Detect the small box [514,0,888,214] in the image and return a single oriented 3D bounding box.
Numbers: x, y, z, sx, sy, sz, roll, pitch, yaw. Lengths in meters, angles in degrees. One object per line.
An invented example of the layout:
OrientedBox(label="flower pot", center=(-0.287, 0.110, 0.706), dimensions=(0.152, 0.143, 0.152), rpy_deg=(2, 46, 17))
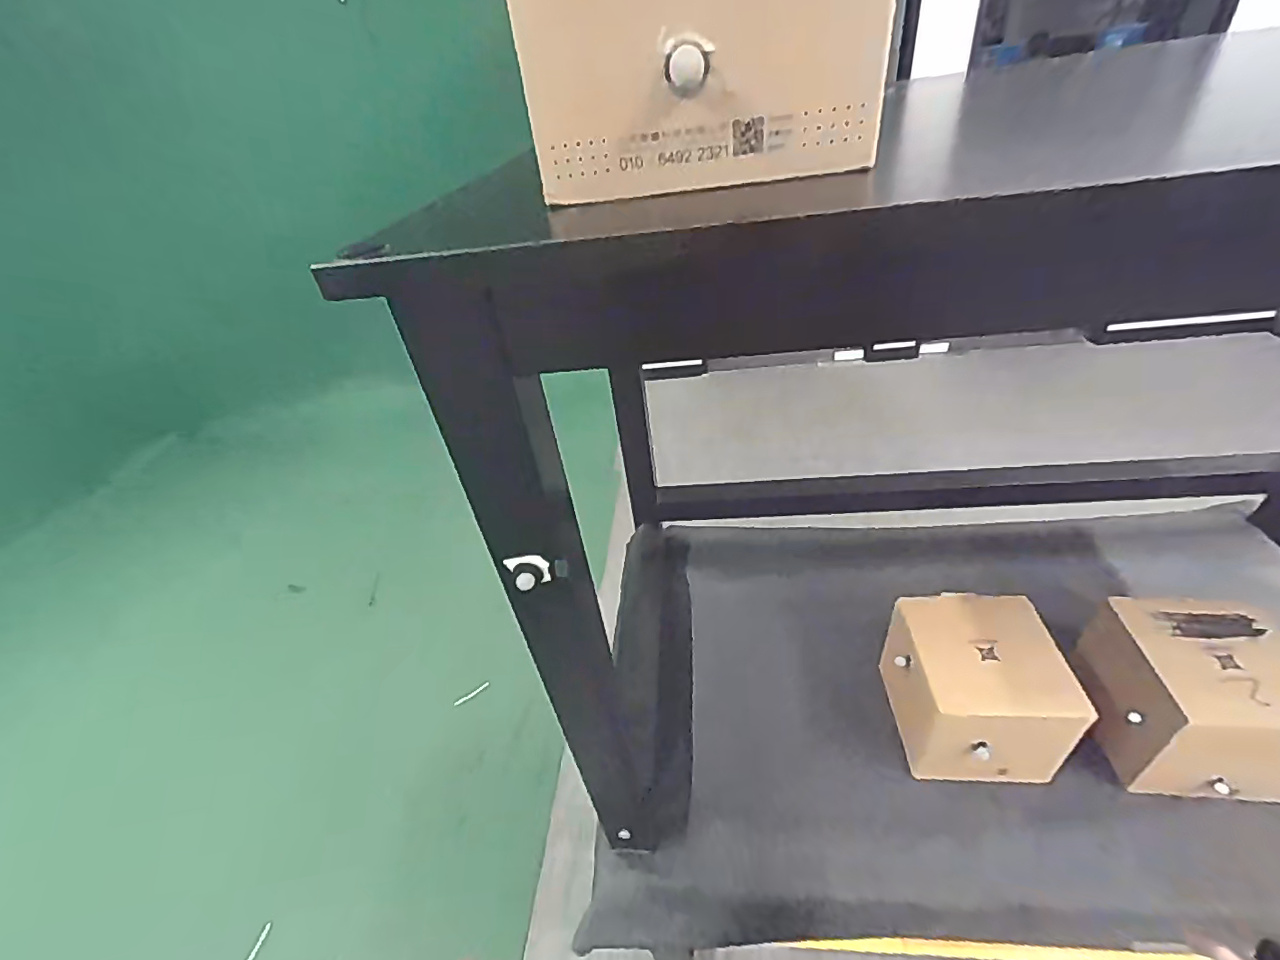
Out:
OrientedBox(label="small box", center=(0.027, -0.256, 0.295), dimensions=(0.168, 0.176, 0.179), rpy_deg=(-4, 38, 7))

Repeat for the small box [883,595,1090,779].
OrientedBox(label="small box", center=(0.441, 0.277, 0.725), dimensions=(0.168, 0.176, 0.179), rpy_deg=(-3, 37, 8))
